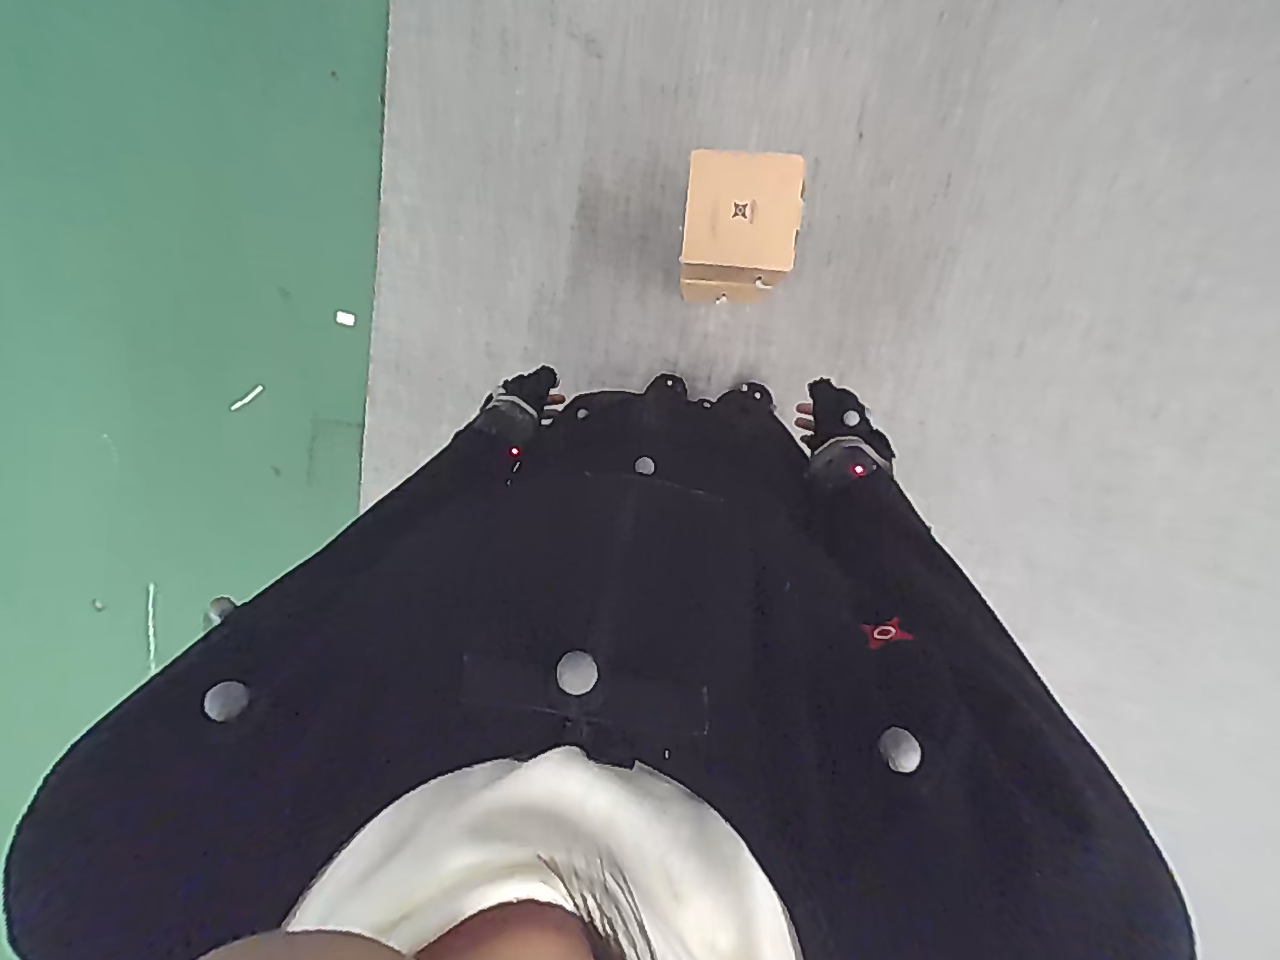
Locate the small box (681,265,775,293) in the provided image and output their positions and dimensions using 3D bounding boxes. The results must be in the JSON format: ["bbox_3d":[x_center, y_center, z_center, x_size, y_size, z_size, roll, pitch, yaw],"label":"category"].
[{"bbox_3d":[0.176,-0.467,1.066,0.179,0.176,0.168,6,103,4],"label":"small box"}]

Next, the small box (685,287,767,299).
[{"bbox_3d":[0.194,-0.506,1.223,0.179,0.176,0.168,1,102,5],"label":"small box"}]

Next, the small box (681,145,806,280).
[{"bbox_3d":[0.164,-0.437,0.907,0.179,0.176,0.168,5,102,6],"label":"small box"}]
